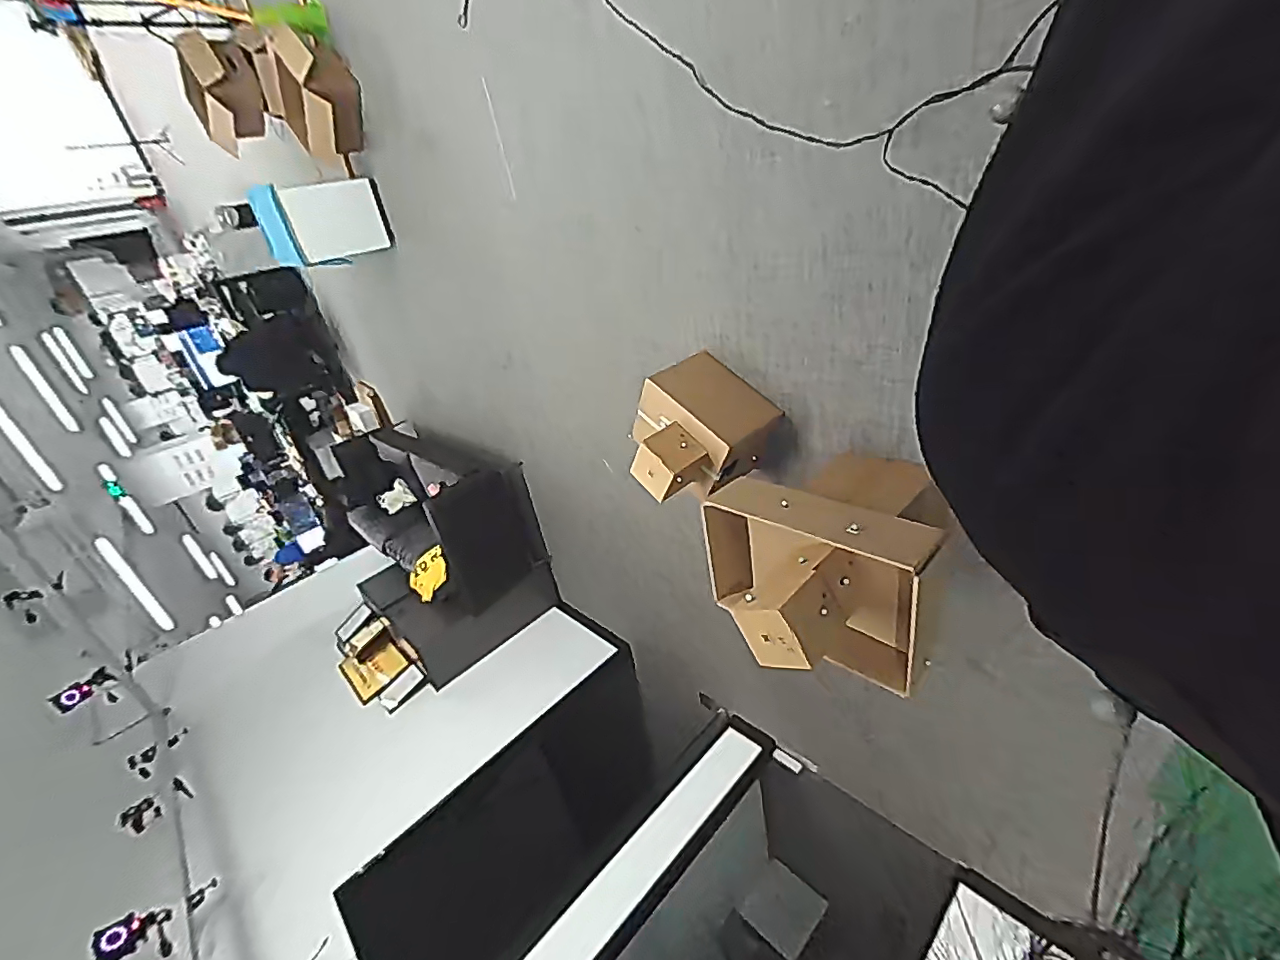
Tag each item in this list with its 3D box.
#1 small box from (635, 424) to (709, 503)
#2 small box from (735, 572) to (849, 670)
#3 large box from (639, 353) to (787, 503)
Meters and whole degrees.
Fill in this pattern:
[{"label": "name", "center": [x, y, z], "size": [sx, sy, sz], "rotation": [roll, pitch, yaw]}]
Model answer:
[{"label": "small box", "center": [0.112, -0.058, 1.860], "size": [0.168, 0.176, 0.179], "rotation": [46, 146, 19]}, {"label": "small box", "center": [0.377, 0.344, 1.338], "size": [0.179, 0.176, 0.168], "rotation": [-24, 97, 56]}, {"label": "large box", "center": [0.260, -0.199, 2.001], "size": [0.408, 0.320, 0.320], "rotation": [45, 144, 23]}]
